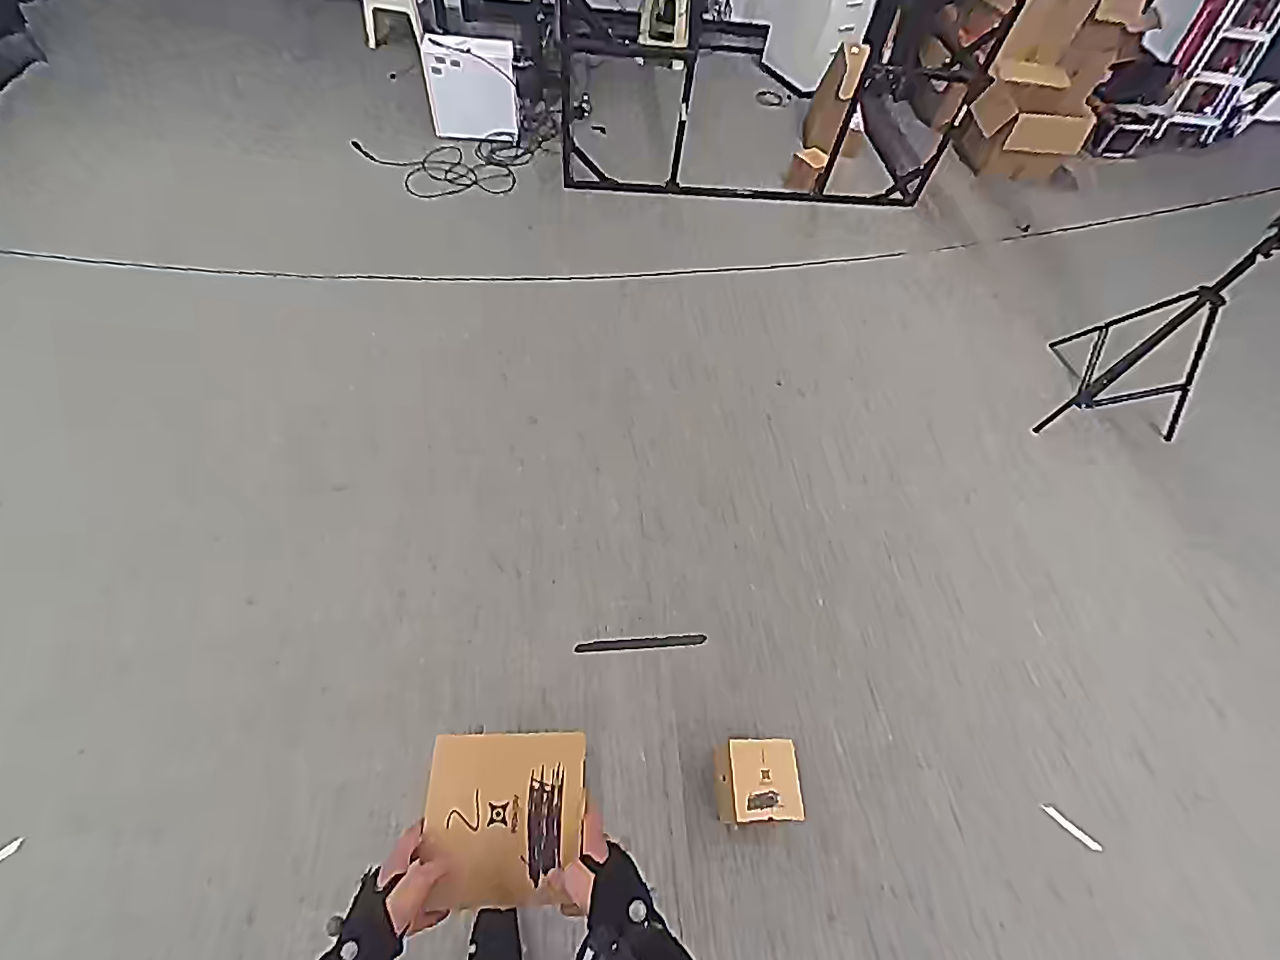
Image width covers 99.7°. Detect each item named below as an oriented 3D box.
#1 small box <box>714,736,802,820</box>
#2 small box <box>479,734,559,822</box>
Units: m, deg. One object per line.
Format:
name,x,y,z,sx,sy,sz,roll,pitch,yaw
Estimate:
small box,0.287,0.751,1.356,0.168,0.176,0.179,3,56,-6
small box,-0.284,0.723,1.309,0.168,0.176,0.179,1,56,-6
